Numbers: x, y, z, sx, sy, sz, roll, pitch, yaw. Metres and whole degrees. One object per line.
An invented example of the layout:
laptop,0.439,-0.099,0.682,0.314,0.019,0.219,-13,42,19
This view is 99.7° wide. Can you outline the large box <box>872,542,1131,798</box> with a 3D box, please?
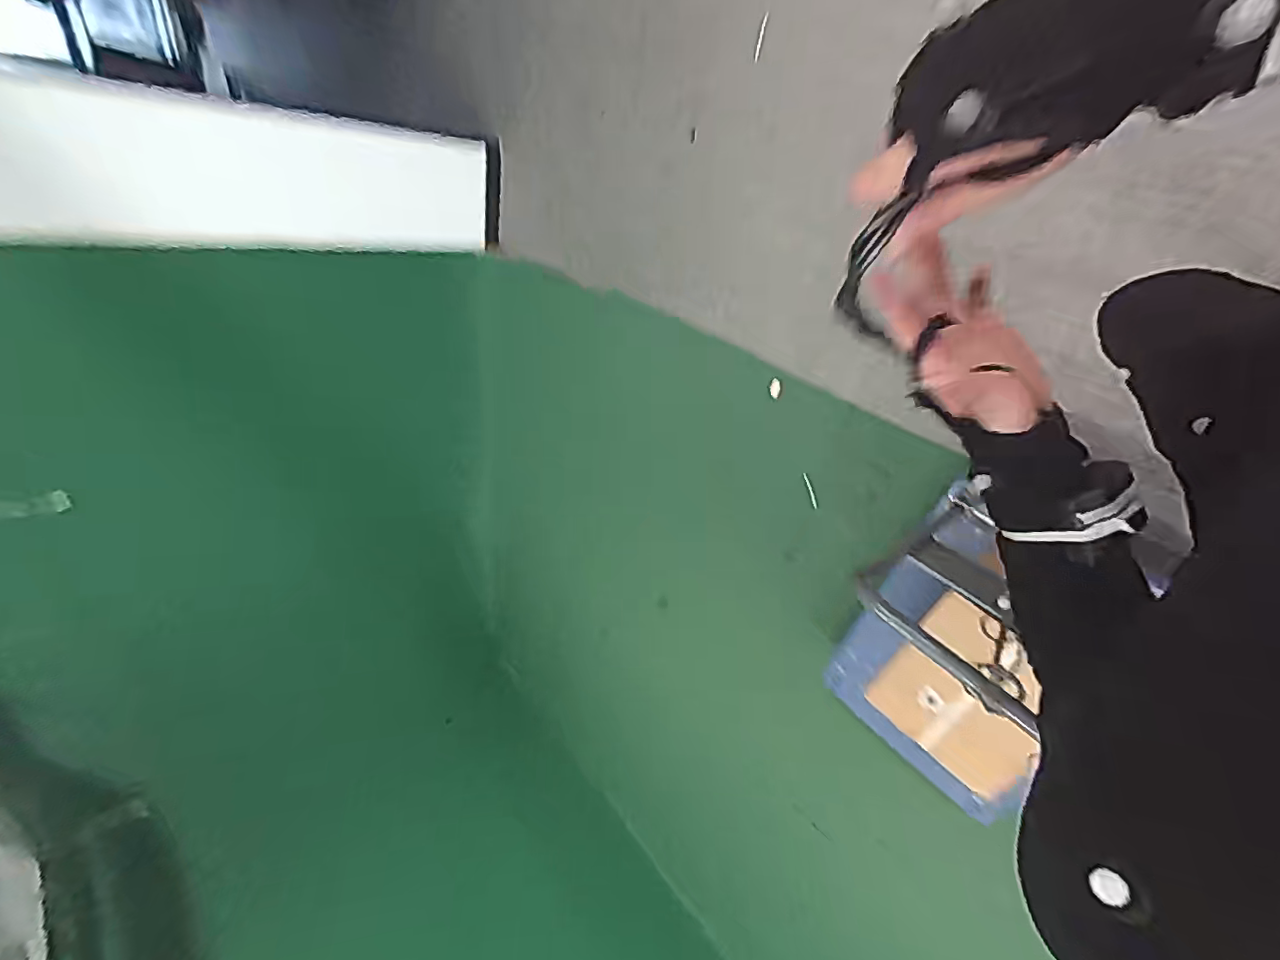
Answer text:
large box,0.823,0.423,1.256,0.320,0.320,0.408,39,131,31
